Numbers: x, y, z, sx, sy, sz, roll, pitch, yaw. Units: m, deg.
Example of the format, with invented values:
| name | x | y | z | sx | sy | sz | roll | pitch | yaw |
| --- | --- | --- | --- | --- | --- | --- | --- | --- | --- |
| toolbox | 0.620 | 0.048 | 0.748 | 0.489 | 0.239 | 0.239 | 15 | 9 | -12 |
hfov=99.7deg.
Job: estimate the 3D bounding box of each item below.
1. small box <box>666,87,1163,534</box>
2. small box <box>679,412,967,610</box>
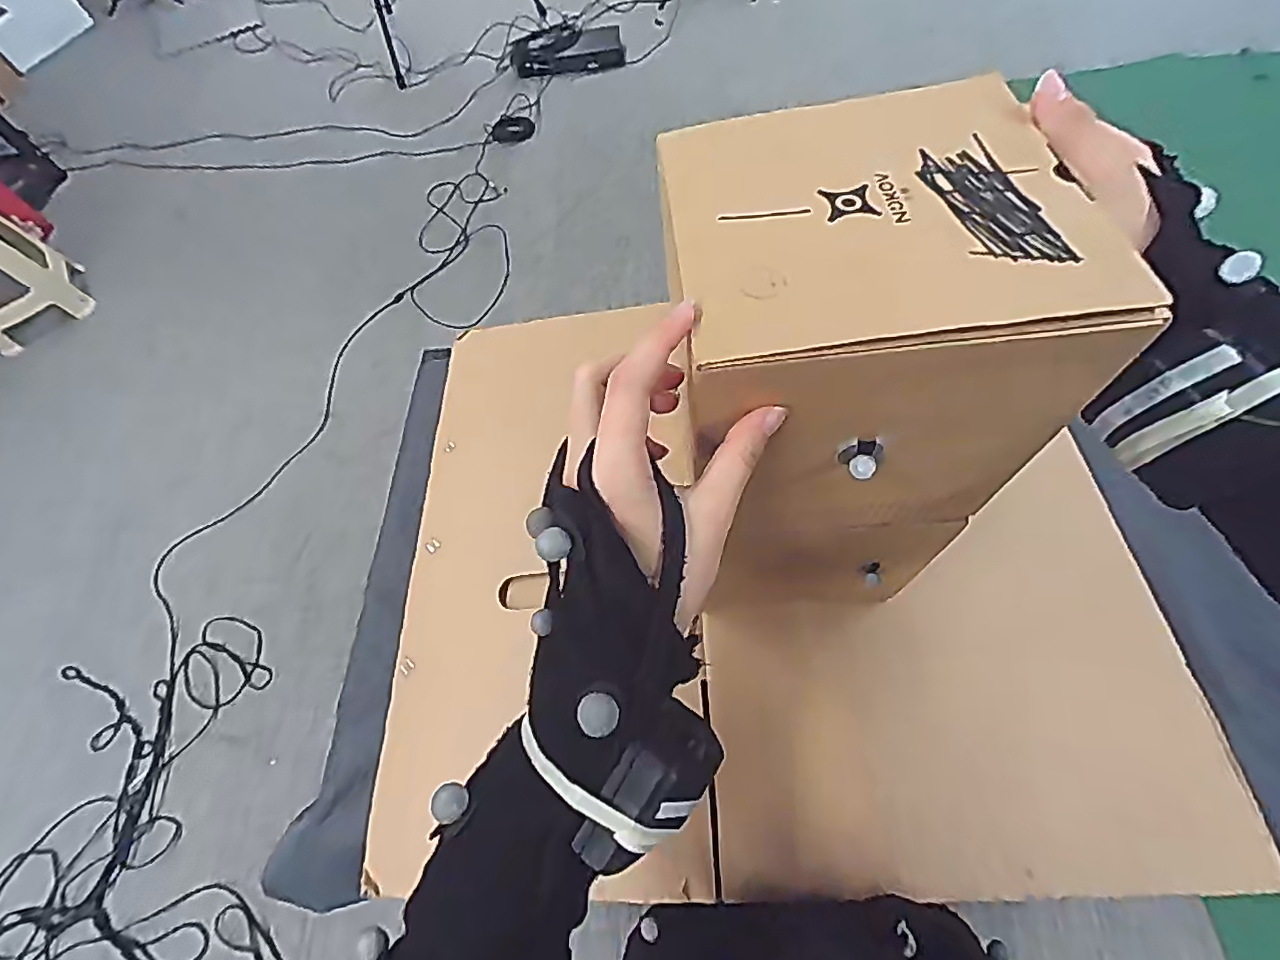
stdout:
| name | x | y | z | sx | sy | sz | roll | pitch | yaw |
| --- | --- | --- | --- | --- | --- | --- | --- | --- | --- |
| small box | 0.109 | -0.080 | 0.308 | 0.179 | 0.176 | 0.168 | -6 | 60 | 4 |
| small box | 0.125 | 0.002 | 0.450 | 0.179 | 0.176 | 0.168 | -5 | 60 | 5 |
